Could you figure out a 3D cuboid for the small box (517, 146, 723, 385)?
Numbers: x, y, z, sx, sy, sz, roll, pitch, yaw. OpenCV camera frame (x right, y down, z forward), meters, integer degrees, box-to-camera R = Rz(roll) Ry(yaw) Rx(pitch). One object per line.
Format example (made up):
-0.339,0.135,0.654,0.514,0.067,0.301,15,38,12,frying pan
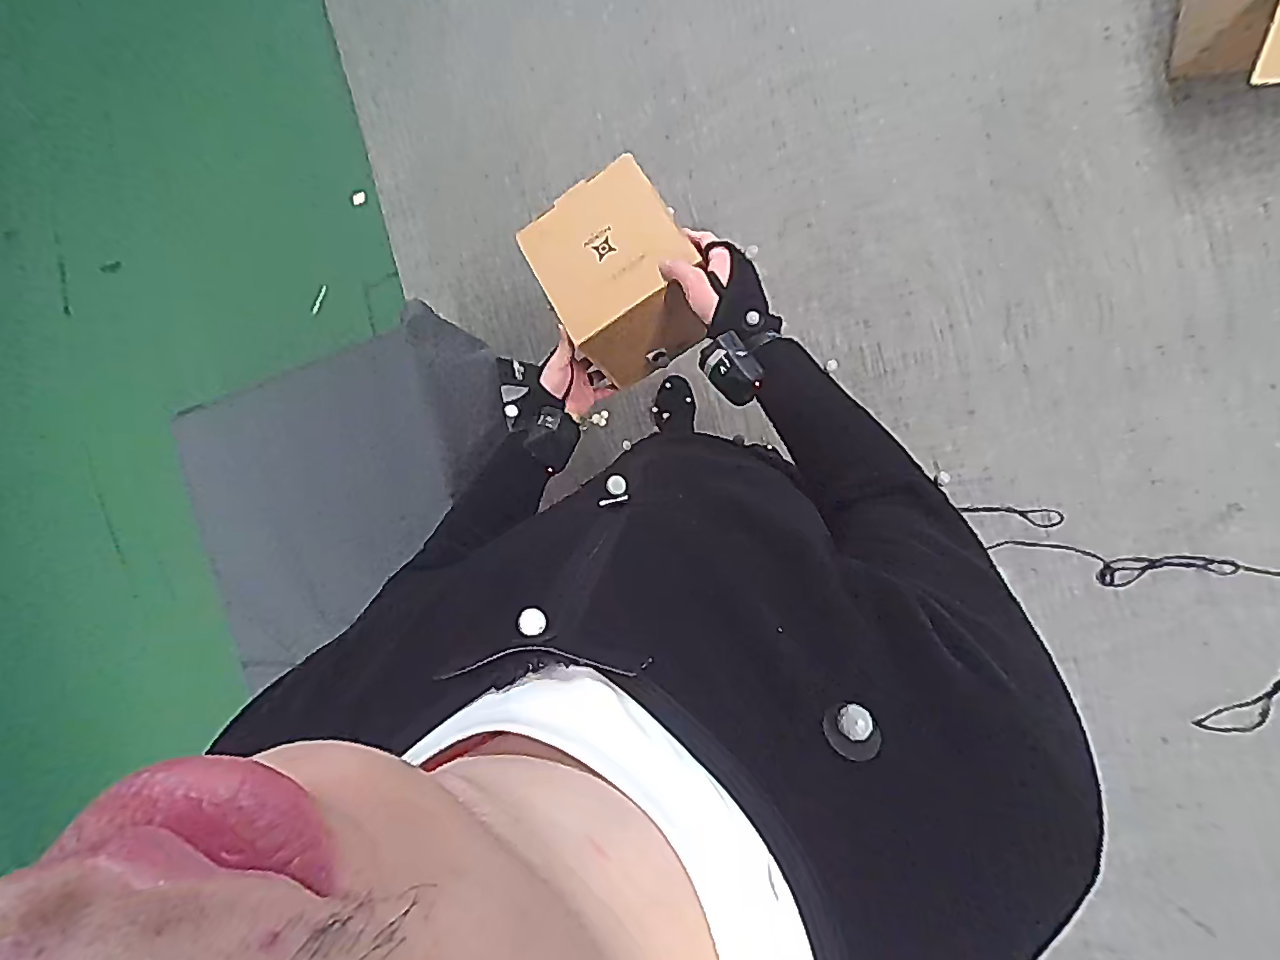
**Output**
-0.017,-0.248,0.665,0.168,0.176,0.179,-30,72,11,small box
